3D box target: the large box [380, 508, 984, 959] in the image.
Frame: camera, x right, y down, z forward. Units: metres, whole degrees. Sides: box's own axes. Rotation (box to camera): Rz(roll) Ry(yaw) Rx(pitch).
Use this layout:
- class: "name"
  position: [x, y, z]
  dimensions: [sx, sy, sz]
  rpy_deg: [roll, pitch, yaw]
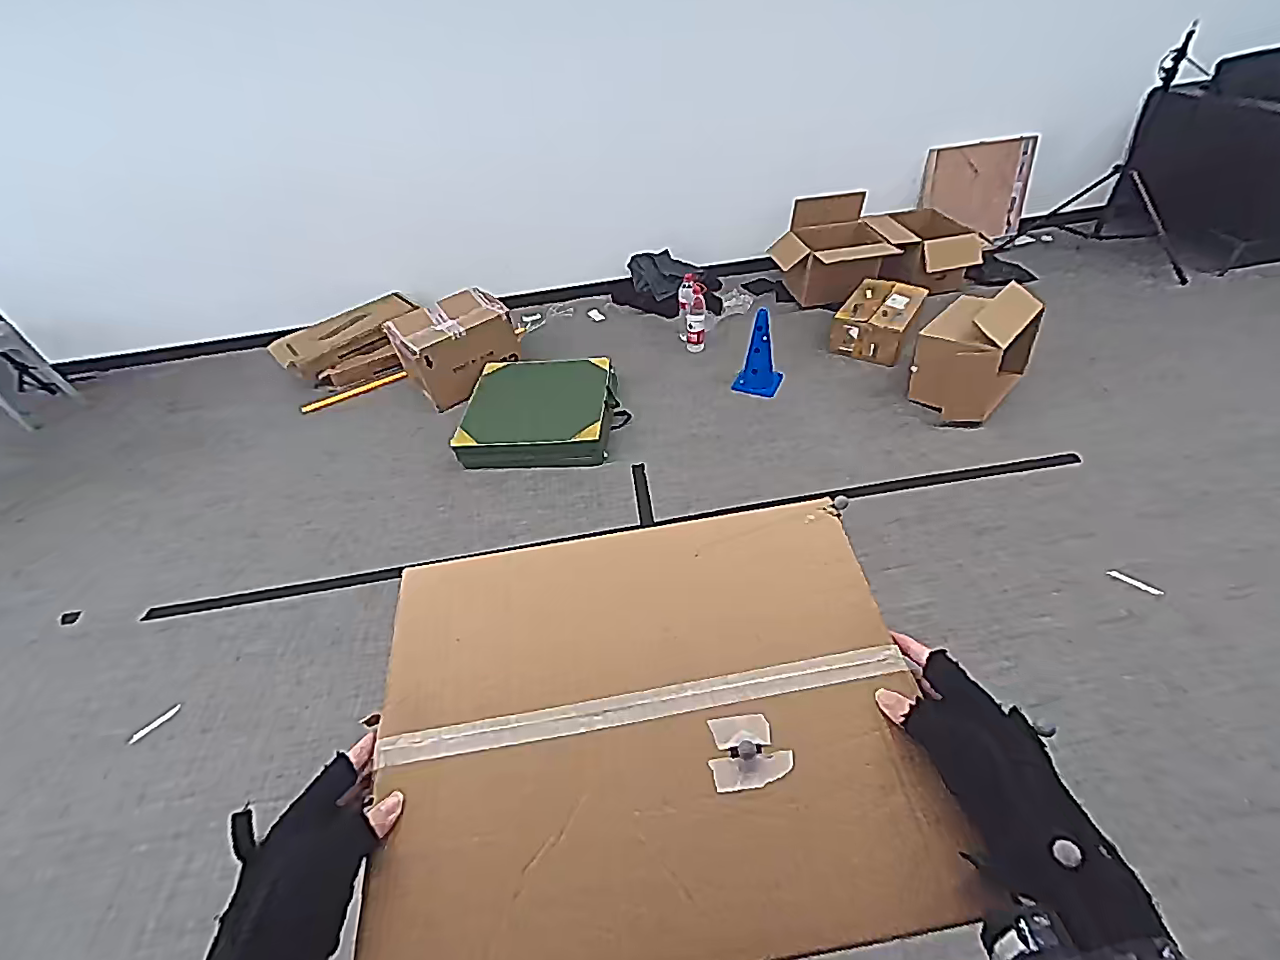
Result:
- class: "large box"
  position: [0.016, 0.270, 0.548]
  dimensions: [0.408, 0.320, 0.320]
  rpy_deg: [-9, 53, -2]
